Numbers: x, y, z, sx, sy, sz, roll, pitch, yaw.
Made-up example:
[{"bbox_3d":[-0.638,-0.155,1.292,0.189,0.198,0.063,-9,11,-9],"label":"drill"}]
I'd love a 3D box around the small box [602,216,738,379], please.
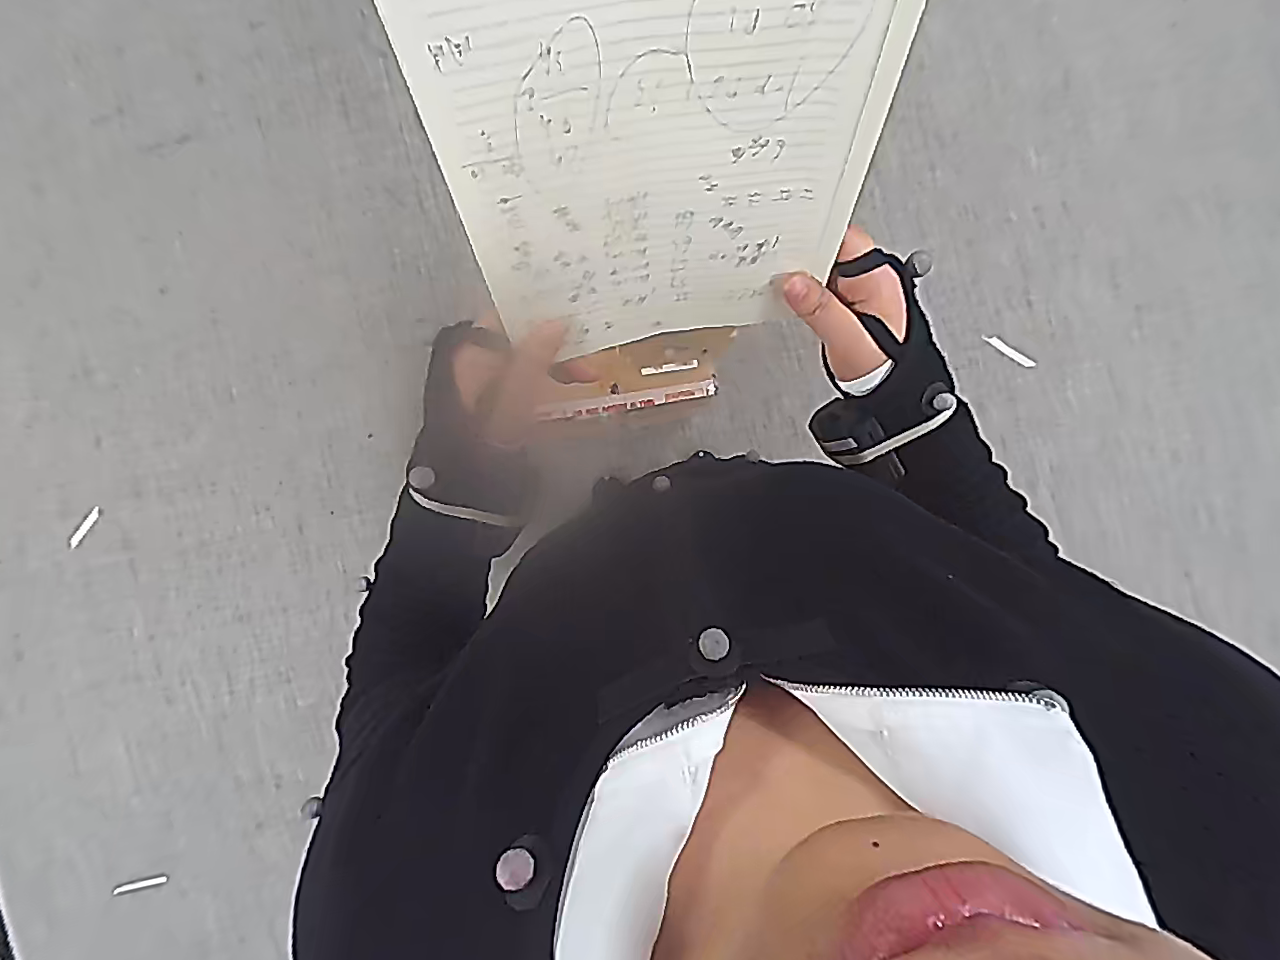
[{"bbox_3d":[0.034,-0.252,0.781,0.168,0.176,0.179,-7,93,-3],"label":"small box"}]

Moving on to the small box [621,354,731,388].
[{"bbox_3d":[0.045,-0.263,0.946,0.179,0.176,0.168,-11,92,-2],"label":"small box"}]
